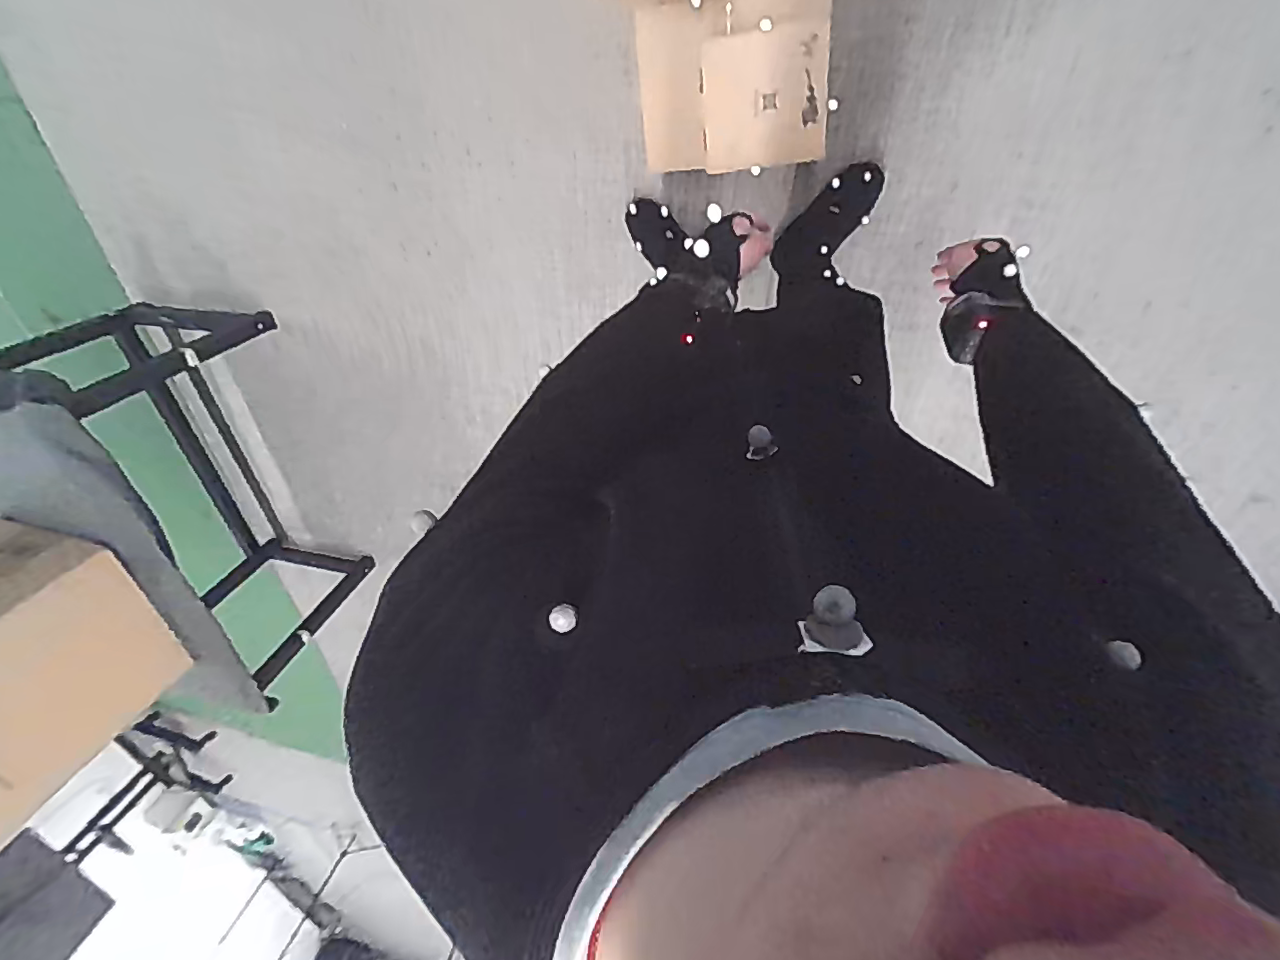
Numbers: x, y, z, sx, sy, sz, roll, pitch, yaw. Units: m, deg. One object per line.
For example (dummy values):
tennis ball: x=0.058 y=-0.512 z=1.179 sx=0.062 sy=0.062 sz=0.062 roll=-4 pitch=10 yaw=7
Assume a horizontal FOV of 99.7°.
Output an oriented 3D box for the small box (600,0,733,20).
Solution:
small box: x=0.045 y=-0.767 z=0.755 sx=0.179 sy=0.176 sz=0.168 roll=7 pitch=125 yaw=19
